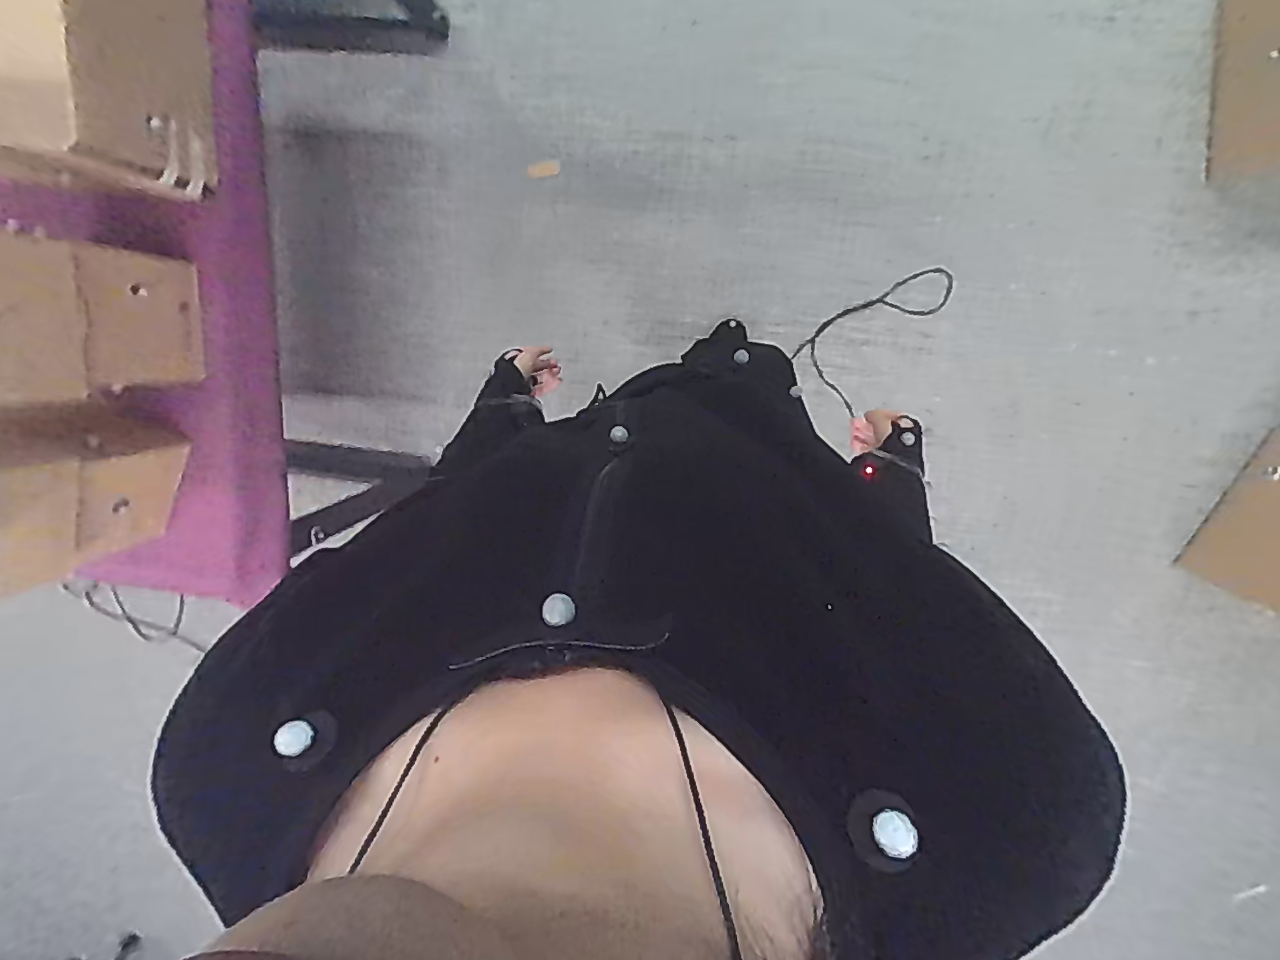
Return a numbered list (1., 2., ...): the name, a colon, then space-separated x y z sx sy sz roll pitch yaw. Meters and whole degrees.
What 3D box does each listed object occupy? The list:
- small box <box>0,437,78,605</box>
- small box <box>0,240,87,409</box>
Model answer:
1. small box: -0.805 0.046 0.616 0.168 0.176 0.179 19 105 1
2. small box: -0.738 -0.169 0.558 0.168 0.176 0.179 7 103 6
